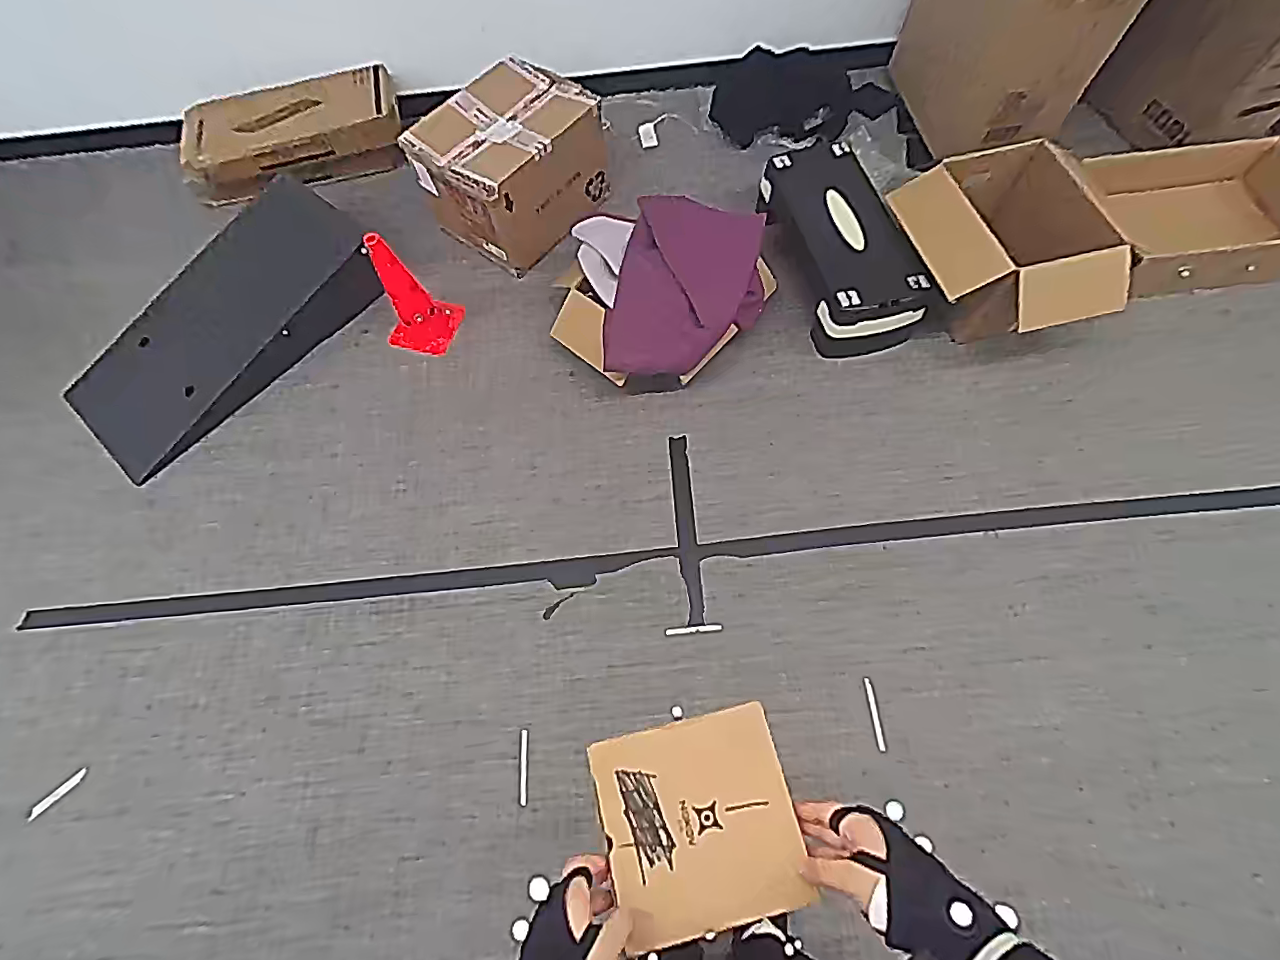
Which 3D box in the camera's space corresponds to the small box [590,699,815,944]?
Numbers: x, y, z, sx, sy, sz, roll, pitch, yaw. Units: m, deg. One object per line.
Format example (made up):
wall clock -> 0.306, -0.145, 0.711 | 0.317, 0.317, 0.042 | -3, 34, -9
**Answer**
small box -> 0.054, 0.339, 0.566 | 0.179, 0.176, 0.168 | -12, 66, -5
